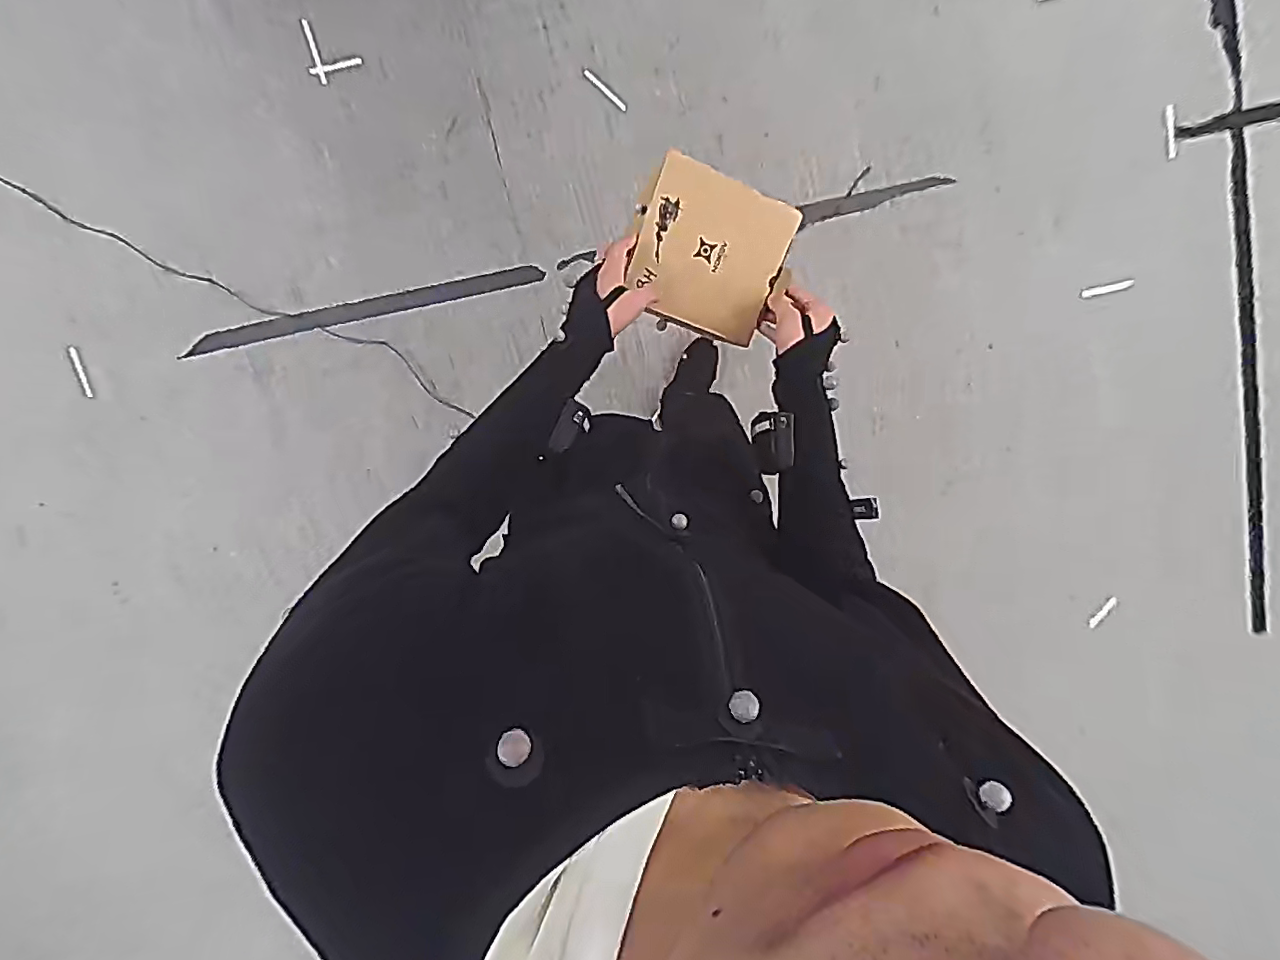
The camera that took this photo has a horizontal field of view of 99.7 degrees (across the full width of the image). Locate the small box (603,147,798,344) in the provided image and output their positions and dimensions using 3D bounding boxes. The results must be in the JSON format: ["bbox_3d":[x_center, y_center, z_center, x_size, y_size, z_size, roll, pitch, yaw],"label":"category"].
[{"bbox_3d":[0.065,-0.292,0.703,0.179,0.176,0.168,17,104,-16],"label":"small box"}]
